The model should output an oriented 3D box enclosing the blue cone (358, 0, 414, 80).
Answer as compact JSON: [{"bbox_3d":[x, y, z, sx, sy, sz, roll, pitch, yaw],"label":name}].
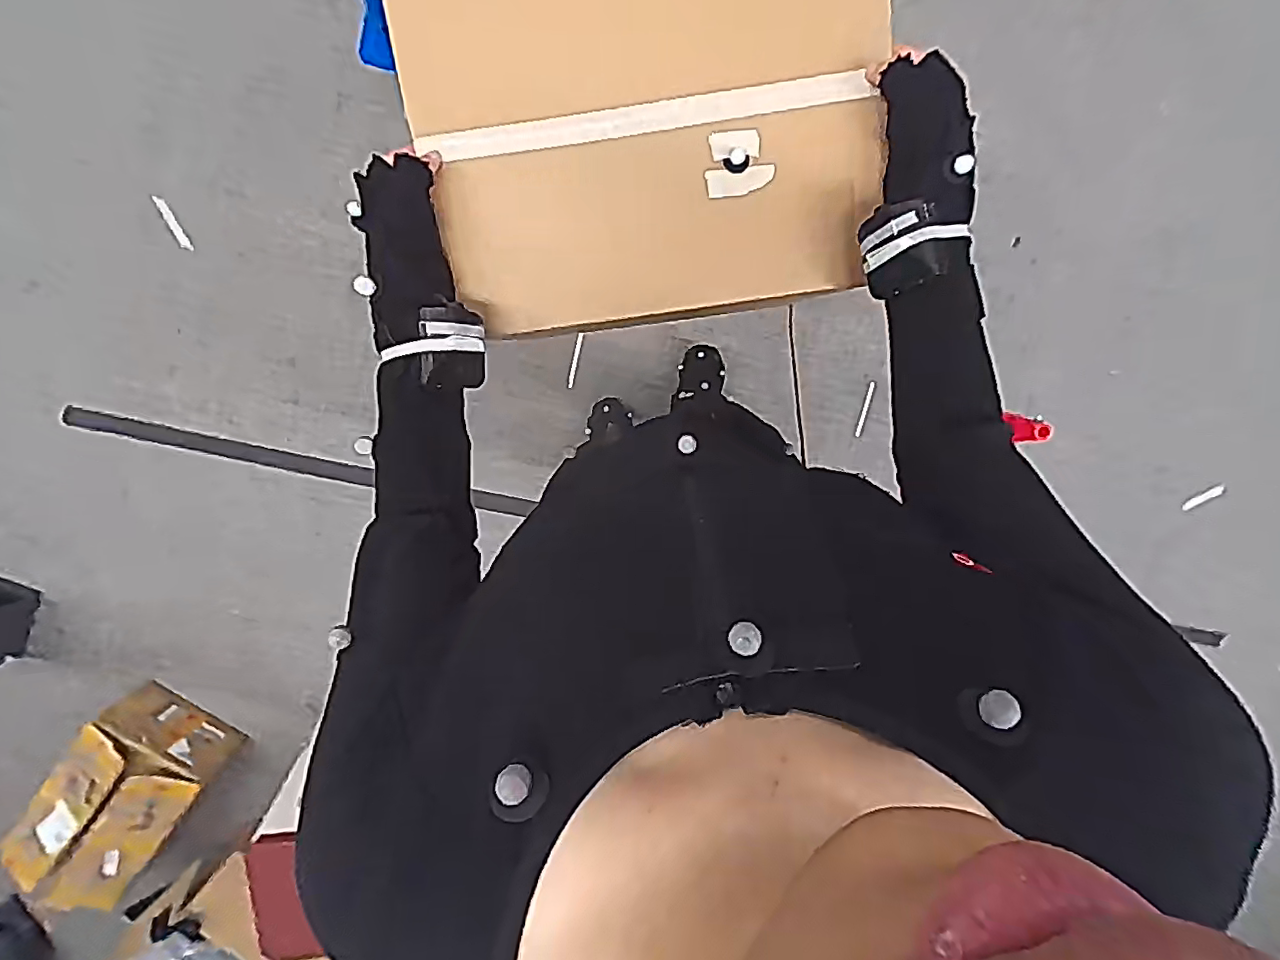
[{"bbox_3d":[-0.548,-1.025,1.109,0.192,0.380,0.193,16,98,-5],"label":"blue cone"}]

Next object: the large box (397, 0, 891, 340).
[{"bbox_3d":[0.009,-0.343,0.606,0.408,0.320,0.320,-7,104,0],"label":"large box"}]
